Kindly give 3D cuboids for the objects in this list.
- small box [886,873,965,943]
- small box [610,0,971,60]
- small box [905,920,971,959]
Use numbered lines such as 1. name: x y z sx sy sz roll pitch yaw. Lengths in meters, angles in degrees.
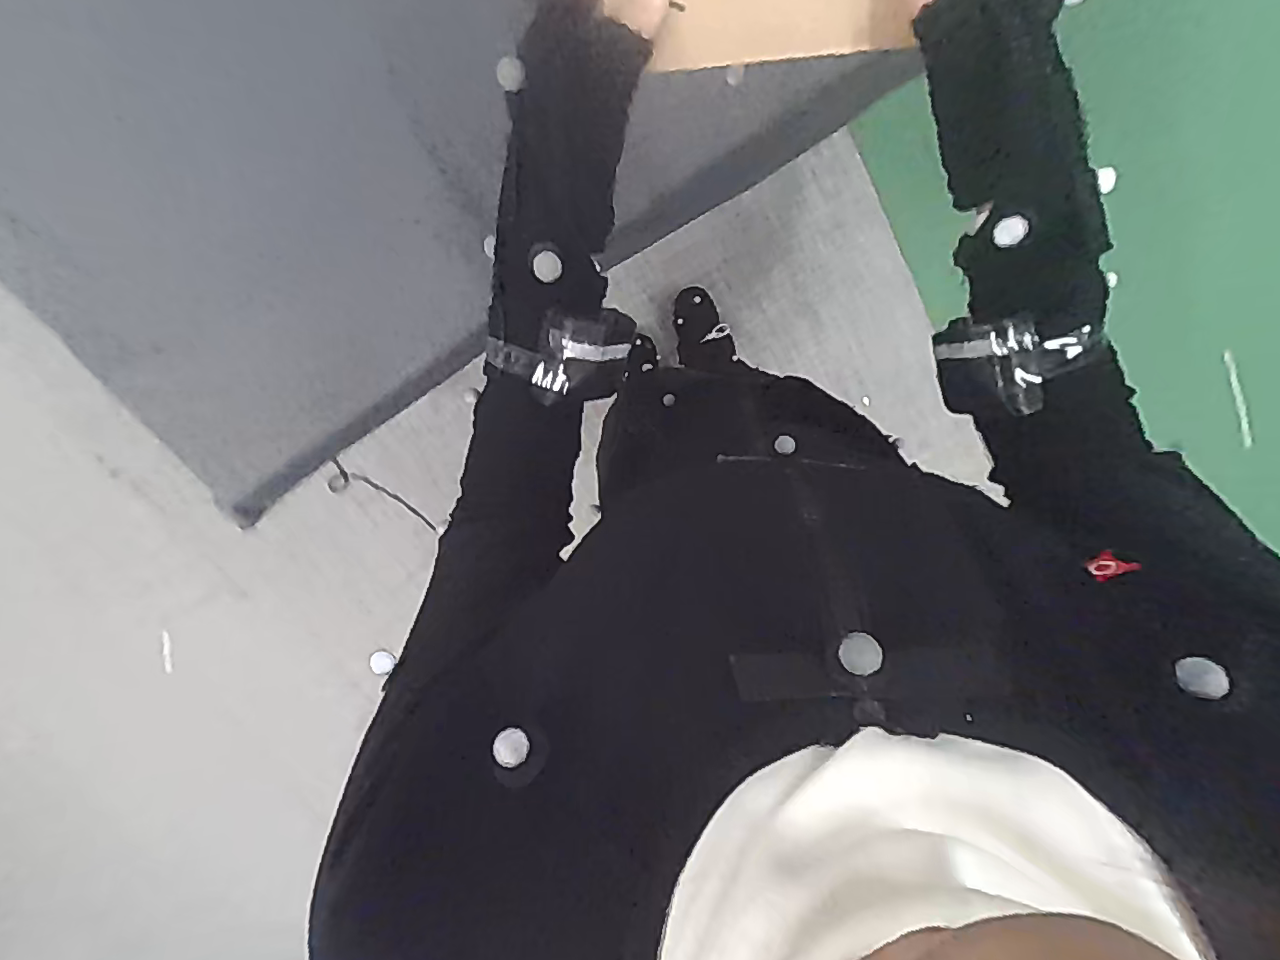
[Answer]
1. small box: 1.047 1.602 1.994 0.179 0.176 0.168 -29 108 7
2. small box: 0.069 -0.331 0.282 0.179 0.176 0.168 -4 129 0
3. small box: 1.048 1.664 1.844 0.168 0.176 0.179 -32 107 5
